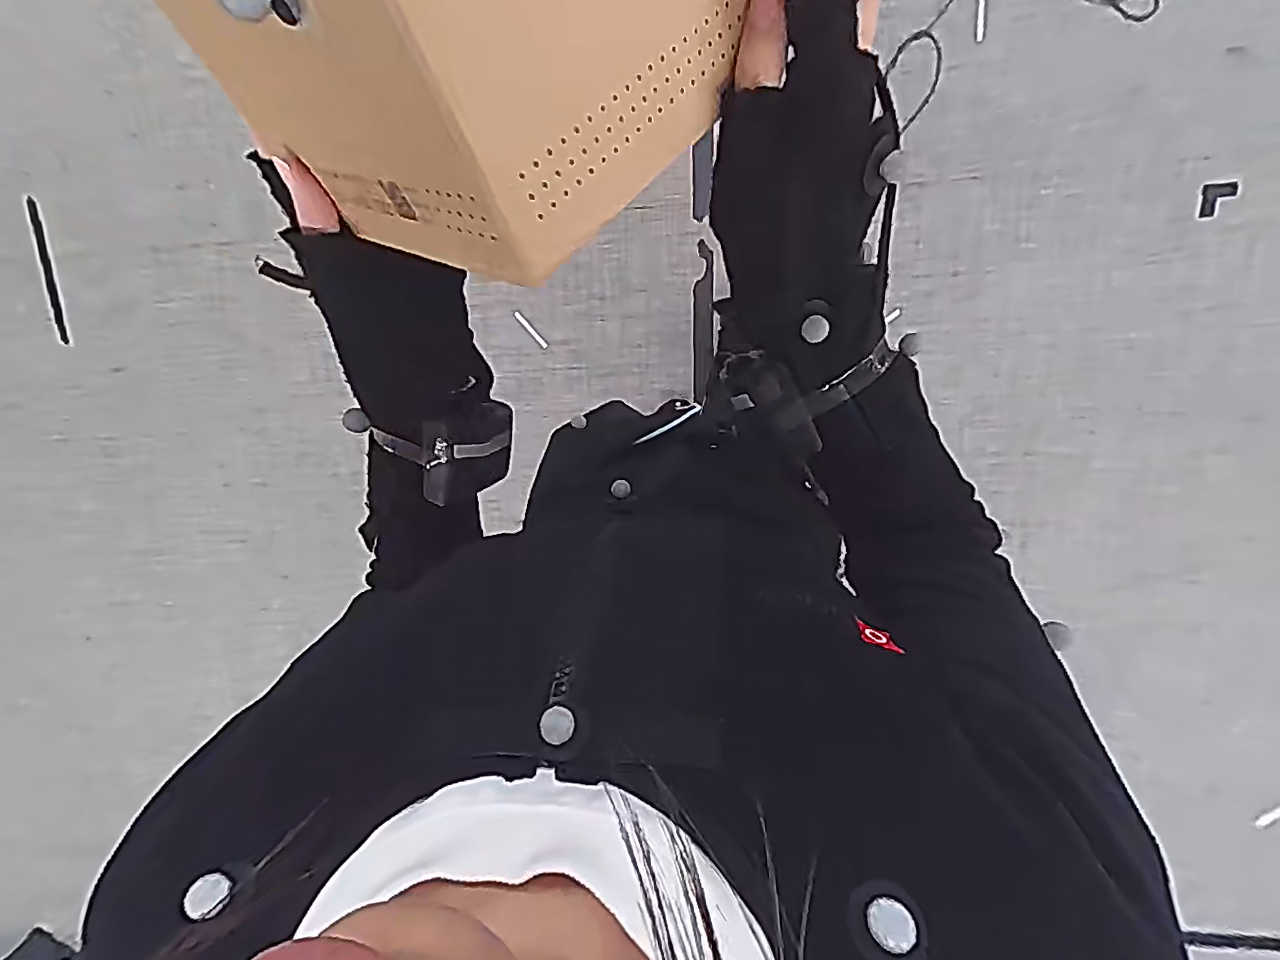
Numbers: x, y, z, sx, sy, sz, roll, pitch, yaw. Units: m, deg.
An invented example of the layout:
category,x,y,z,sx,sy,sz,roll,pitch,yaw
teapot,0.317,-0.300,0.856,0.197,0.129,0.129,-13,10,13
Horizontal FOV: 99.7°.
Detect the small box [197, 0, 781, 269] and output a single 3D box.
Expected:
category,x,y,z,sx,sy,sz,roll,pitch,yaw
small box,-0.061,-0.209,0.203,0.168,0.176,0.179,28,69,33
